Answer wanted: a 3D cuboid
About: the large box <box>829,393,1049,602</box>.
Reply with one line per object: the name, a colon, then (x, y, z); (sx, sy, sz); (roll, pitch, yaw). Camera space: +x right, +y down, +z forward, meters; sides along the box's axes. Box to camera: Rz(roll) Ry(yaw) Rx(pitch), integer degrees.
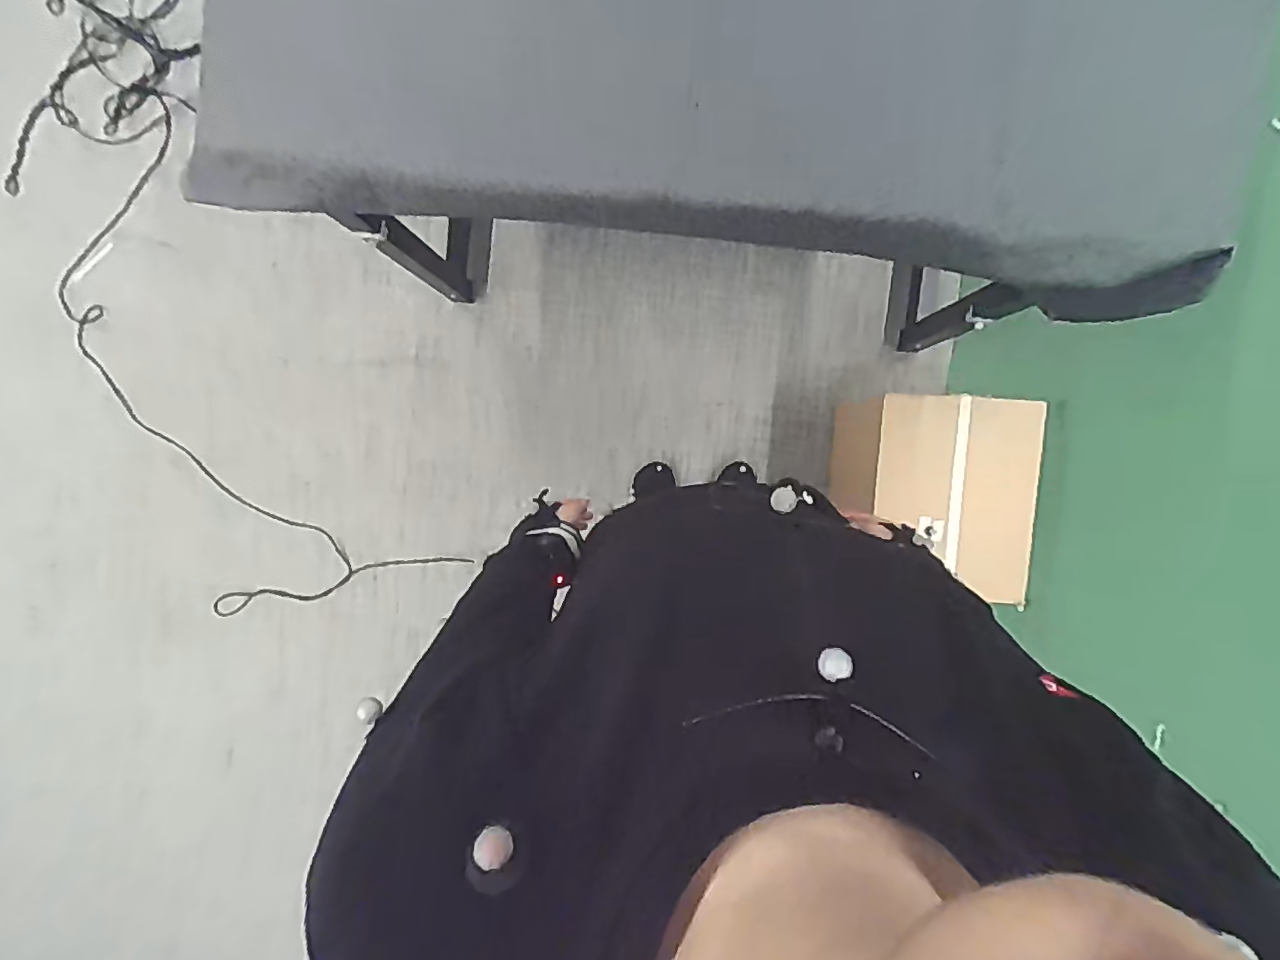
large box: (0.629, 0.024, 1.198); (0.320, 0.320, 0.408); (4, 94, 3)
